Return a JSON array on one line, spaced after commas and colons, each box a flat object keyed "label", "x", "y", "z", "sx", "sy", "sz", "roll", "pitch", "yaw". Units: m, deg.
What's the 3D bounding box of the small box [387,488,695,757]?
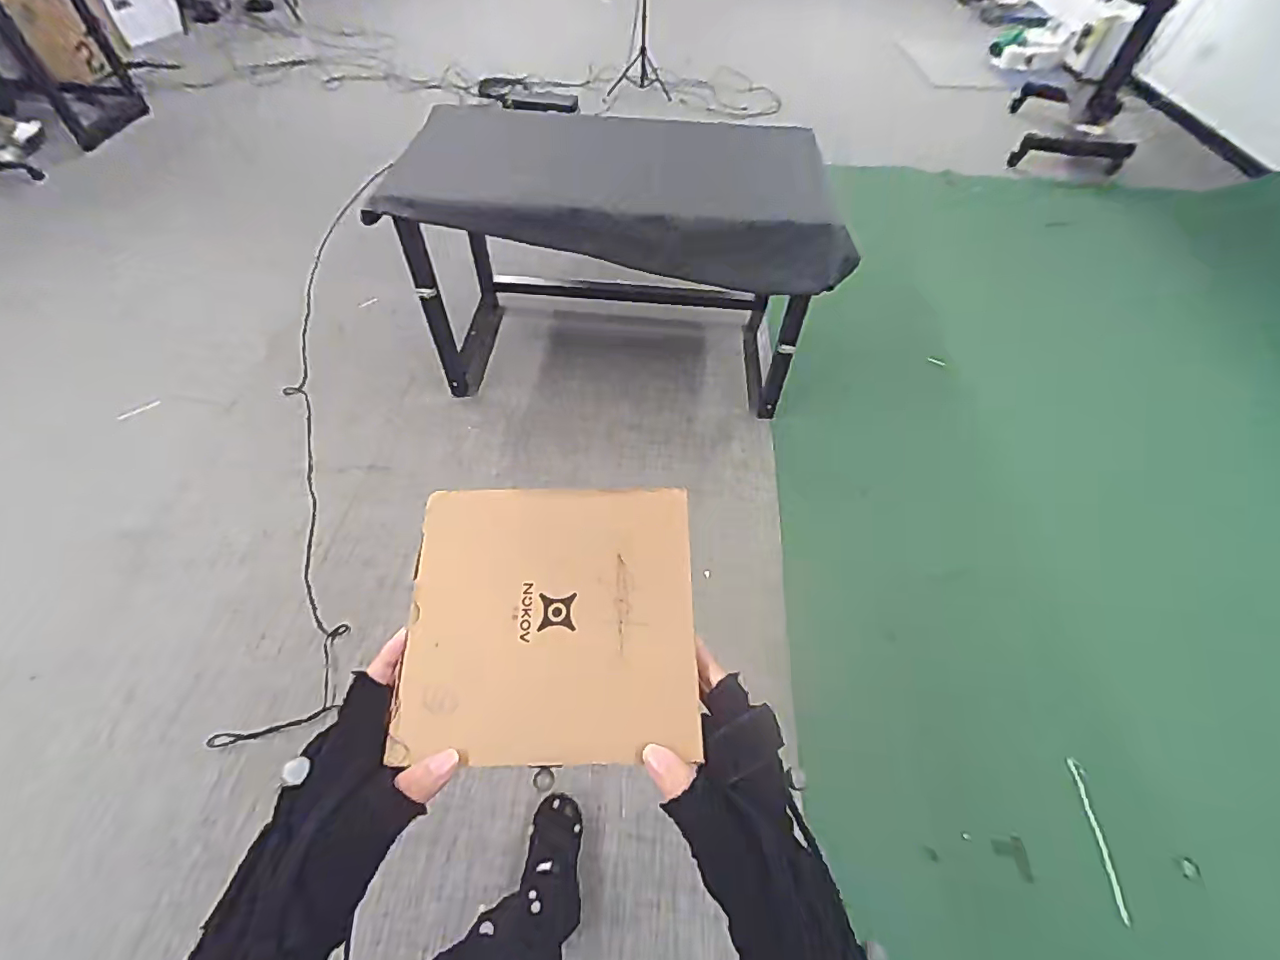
[{"label": "small box", "x": -0.056, "y": 0.115, "z": 0.406, "sx": 0.179, "sy": 0.176, "sz": 0.168, "roll": -1, "pitch": 65, "yaw": -1}]
